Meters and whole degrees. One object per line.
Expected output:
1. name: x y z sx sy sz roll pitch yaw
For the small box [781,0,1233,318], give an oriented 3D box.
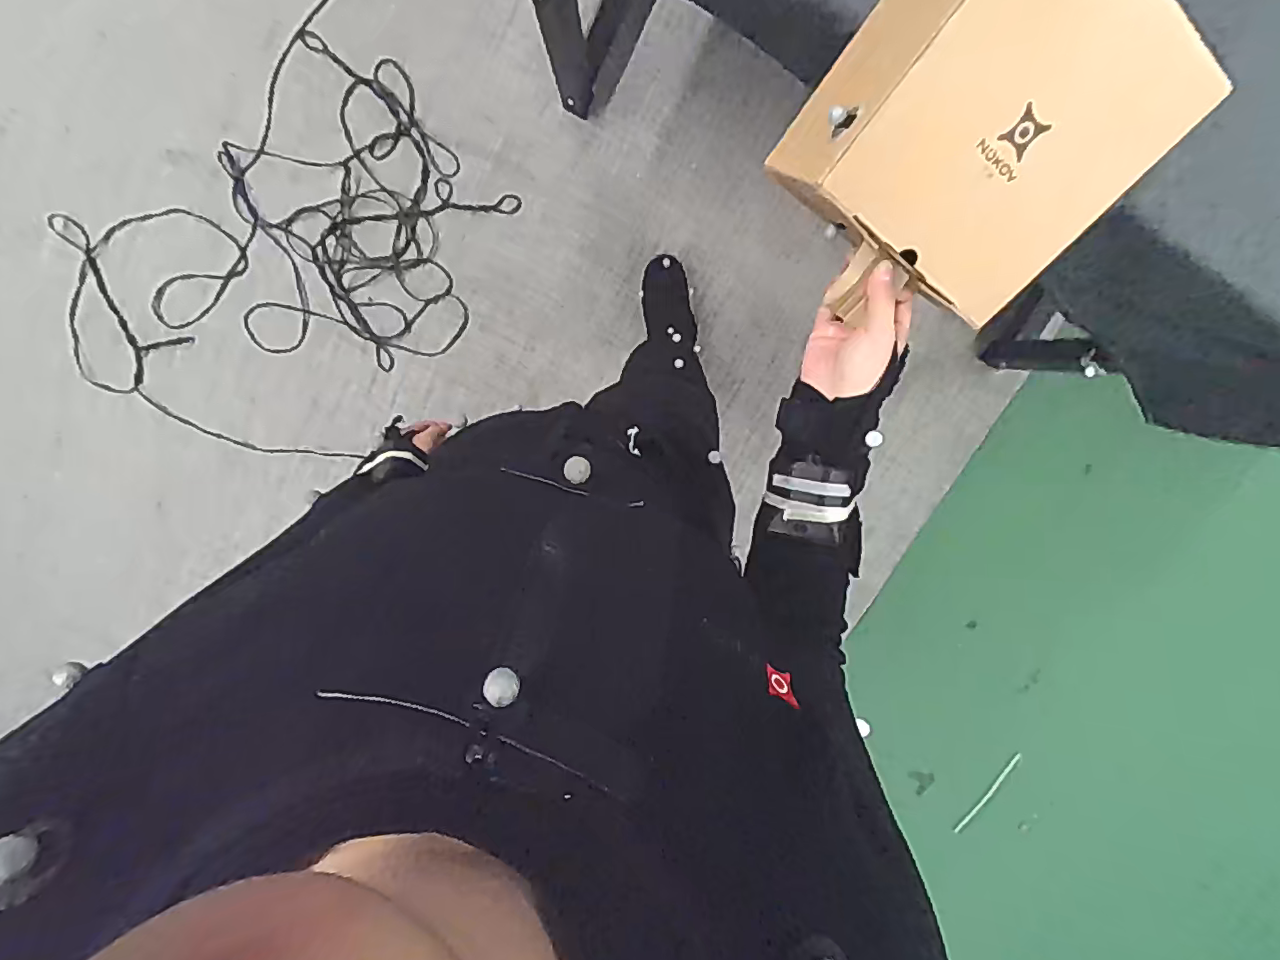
1. small box: 0.229 -0.257 0.390 0.168 0.176 0.179 28 120 -20
